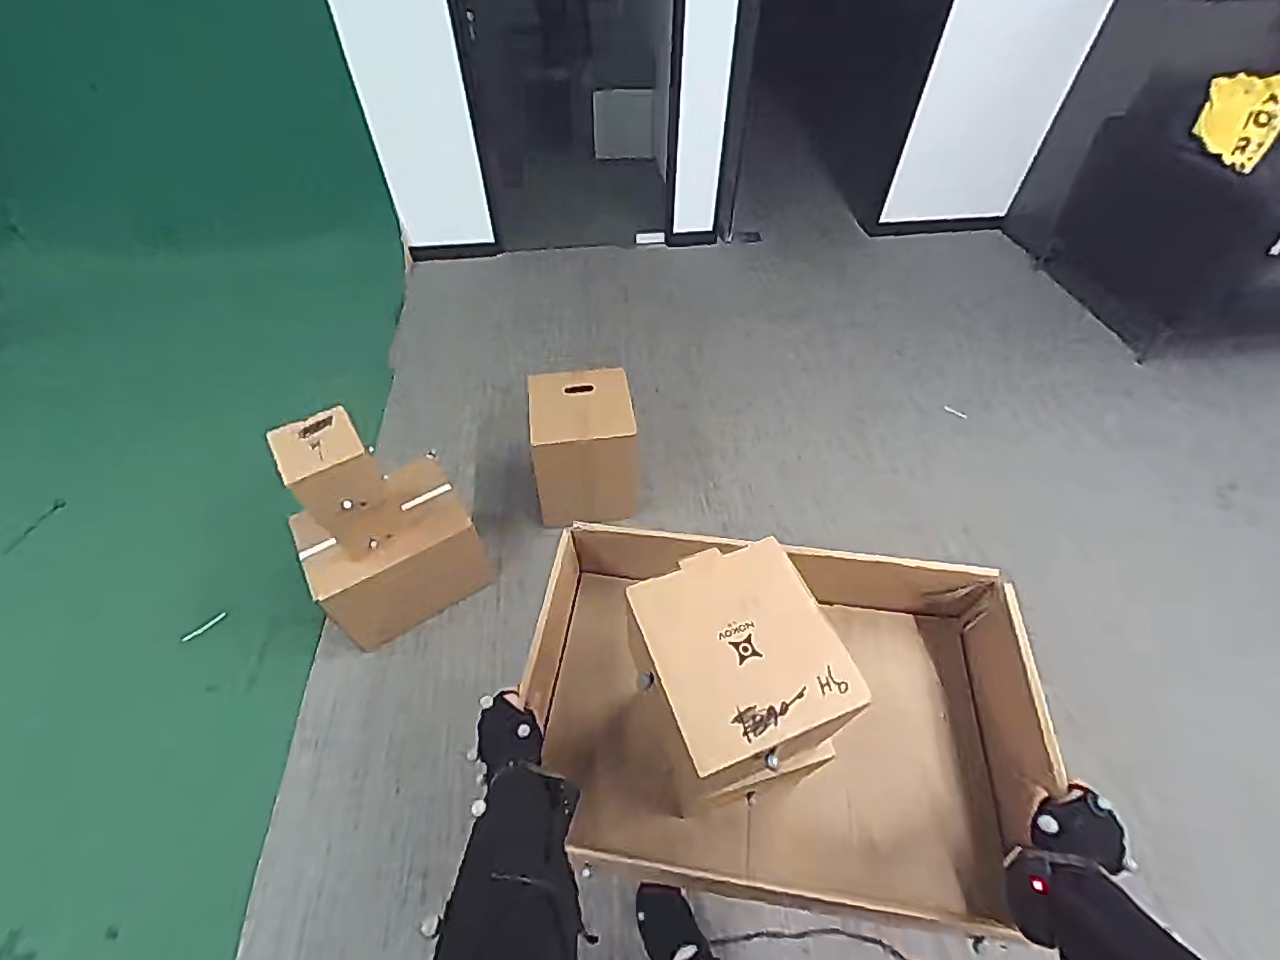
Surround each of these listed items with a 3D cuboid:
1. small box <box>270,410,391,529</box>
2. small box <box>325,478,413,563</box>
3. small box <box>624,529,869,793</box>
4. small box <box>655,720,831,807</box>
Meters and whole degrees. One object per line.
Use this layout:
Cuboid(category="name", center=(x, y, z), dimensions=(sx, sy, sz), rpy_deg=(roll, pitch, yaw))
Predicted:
Cuboid(category="small box", center=(-0.698, -0.022, 1.231), dimensions=(0.168, 0.176, 0.179), rpy_deg=(-28, 57, -21))
Cuboid(category="small box", center=(-0.705, 0.075, 1.363), dimensions=(0.168, 0.176, 0.179), rpy_deg=(-33, 58, -24))
Cuboid(category="small box", center=(0.088, 0.184, 0.546), dimensions=(0.168, 0.176, 0.179), rpy_deg=(-18, 54, -12))
Cuboid(category="small box", center=(0.106, 0.287, 0.673), dimensions=(0.168, 0.176, 0.179), rpy_deg=(-13, 53, -9))
